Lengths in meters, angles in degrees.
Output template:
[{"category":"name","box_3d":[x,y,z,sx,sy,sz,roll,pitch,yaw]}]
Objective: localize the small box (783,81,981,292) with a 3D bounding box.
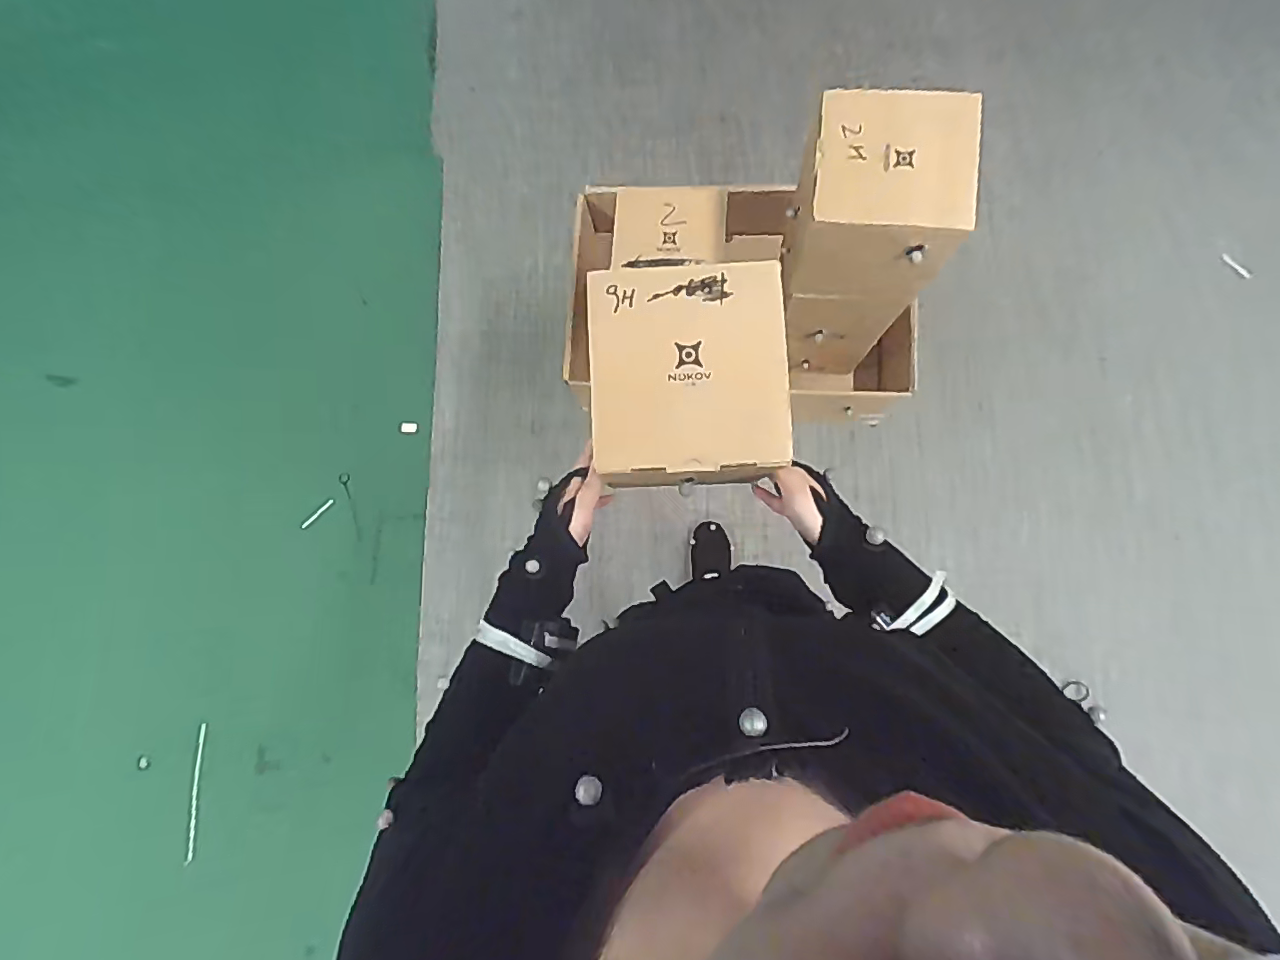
[{"category":"small box","box_3d":[0.287,-0.352,0.675,0.179,0.176,0.168,7,83,8]}]

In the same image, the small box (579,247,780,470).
[{"category":"small box","box_3d":[0.036,-0.101,0.528,0.168,0.176,0.179,-2,86,2]}]

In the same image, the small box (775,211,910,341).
[{"category":"small box","box_3d":[0.307,-0.335,0.838,0.168,0.176,0.179,5,84,7]}]
